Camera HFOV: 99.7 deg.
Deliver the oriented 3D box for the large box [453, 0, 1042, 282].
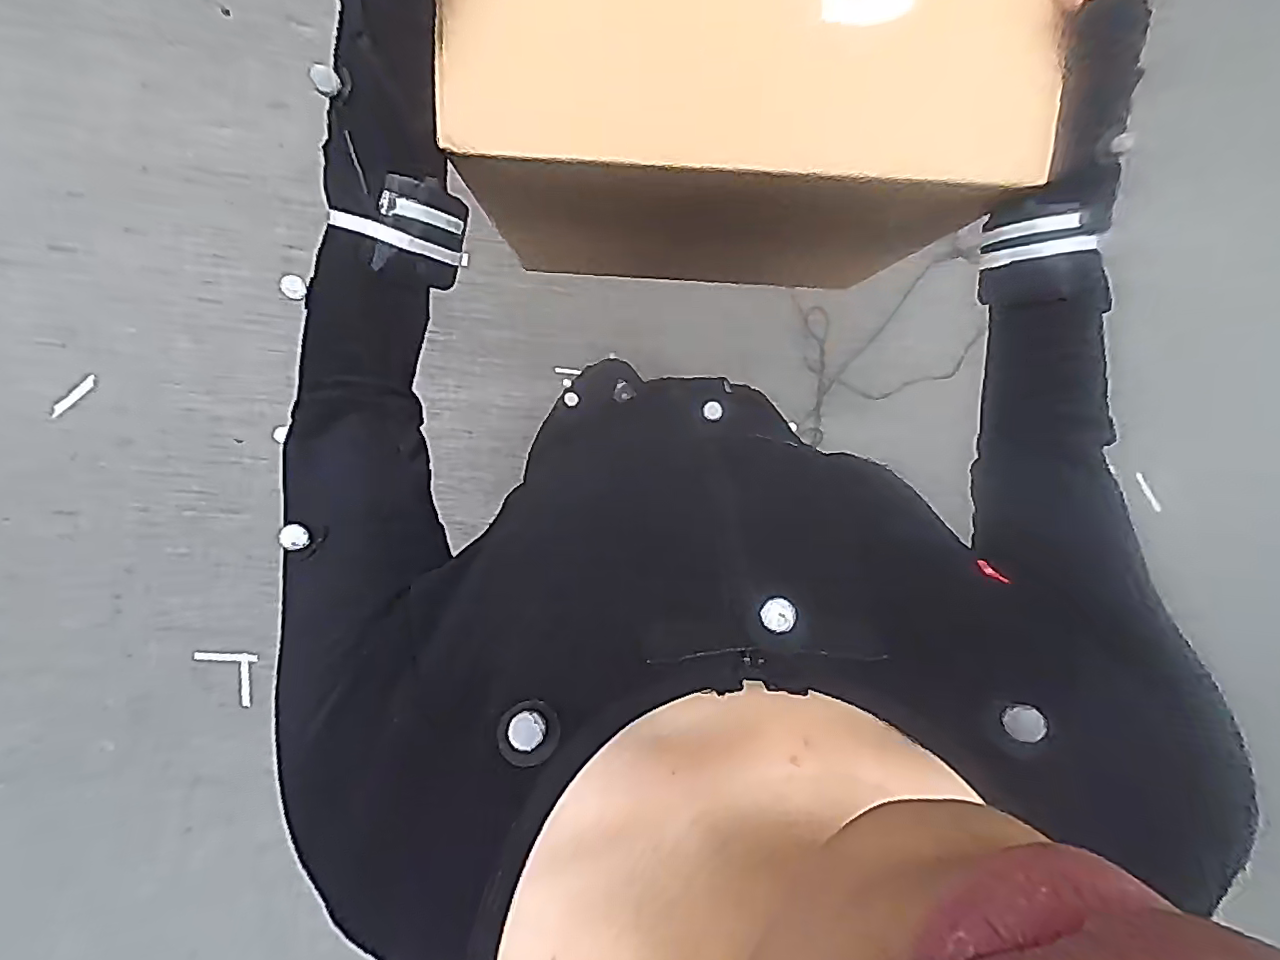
[{"bbox_3d":[0.068,-0.384,0.503,0.408,0.320,0.320,2,97,-3],"label":"large box"}]
